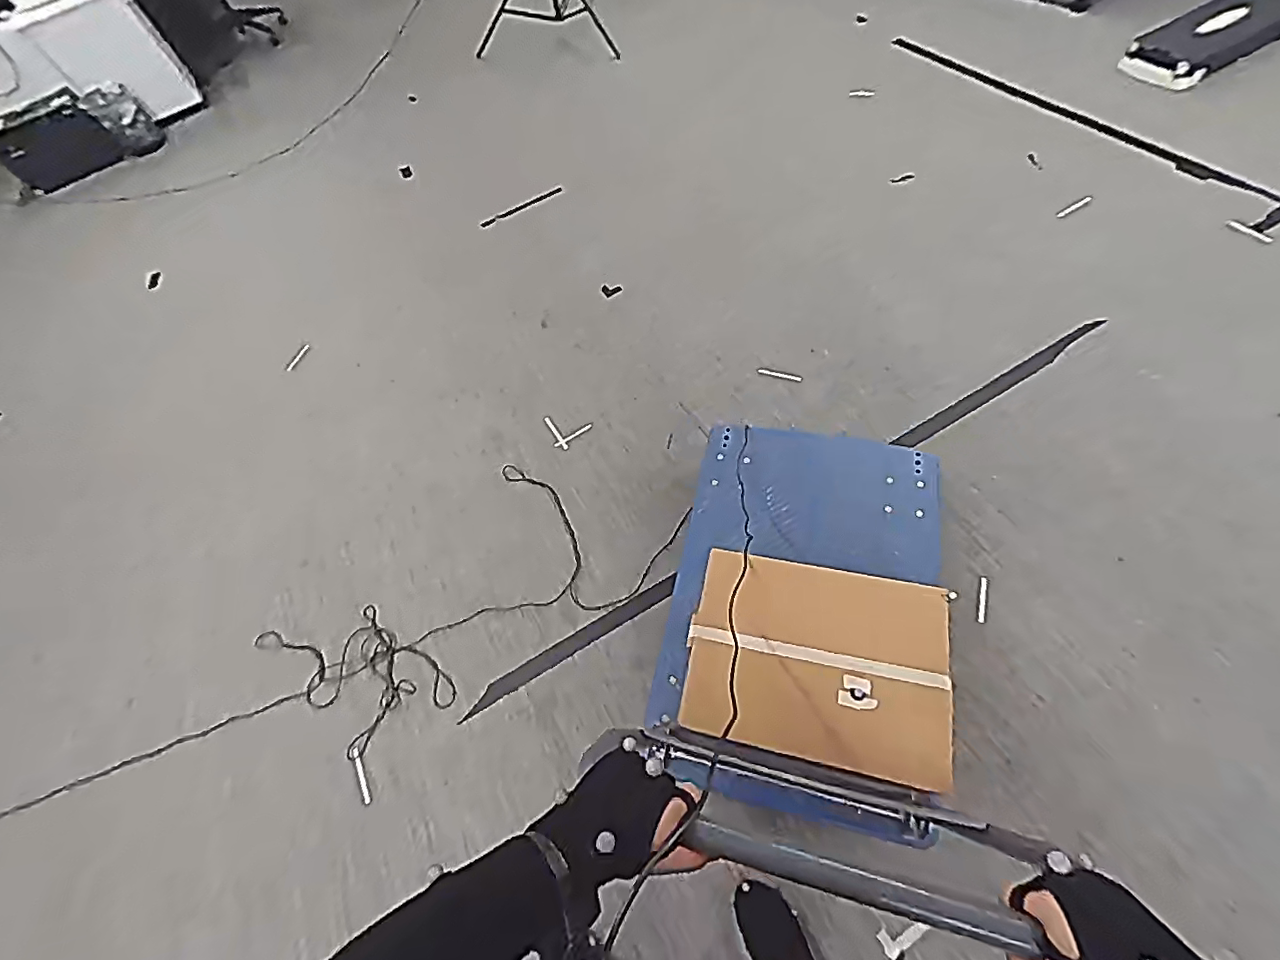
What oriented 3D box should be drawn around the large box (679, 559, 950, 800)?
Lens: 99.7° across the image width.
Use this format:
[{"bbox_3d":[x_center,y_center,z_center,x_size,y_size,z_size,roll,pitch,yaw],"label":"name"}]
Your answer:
[{"bbox_3d":[0.302,0.373,1.008,0.408,0.320,0.320,9,63,13],"label":"large box"}]
